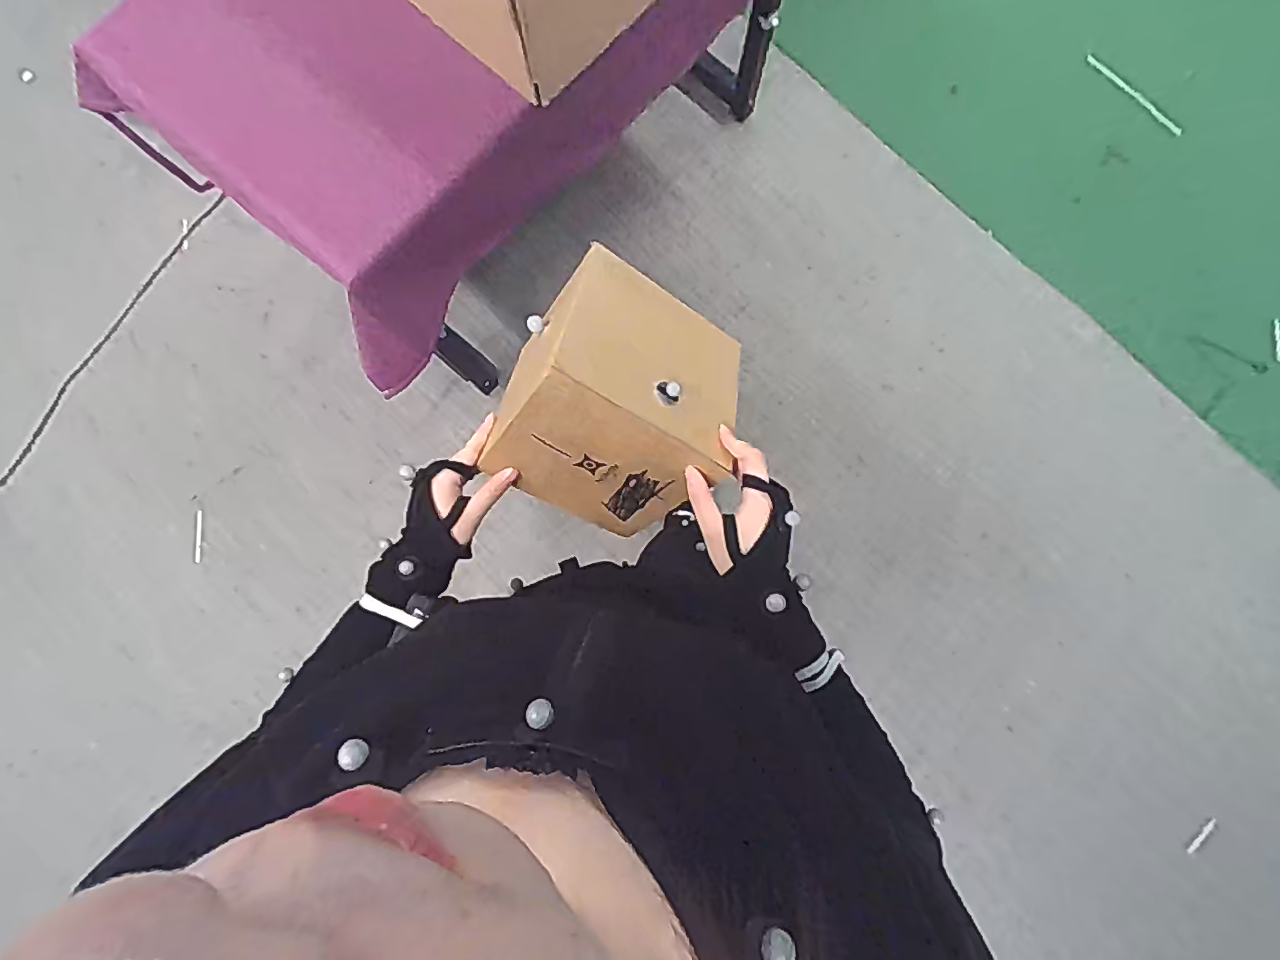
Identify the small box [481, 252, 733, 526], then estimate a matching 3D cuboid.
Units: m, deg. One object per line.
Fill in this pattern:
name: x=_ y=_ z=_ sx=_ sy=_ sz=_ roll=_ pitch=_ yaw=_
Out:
small box: x=-0.024 y=-0.084 z=0.533 sx=0.179 sy=0.168 sz=0.176 roll=28 pitch=52 yaw=-21
